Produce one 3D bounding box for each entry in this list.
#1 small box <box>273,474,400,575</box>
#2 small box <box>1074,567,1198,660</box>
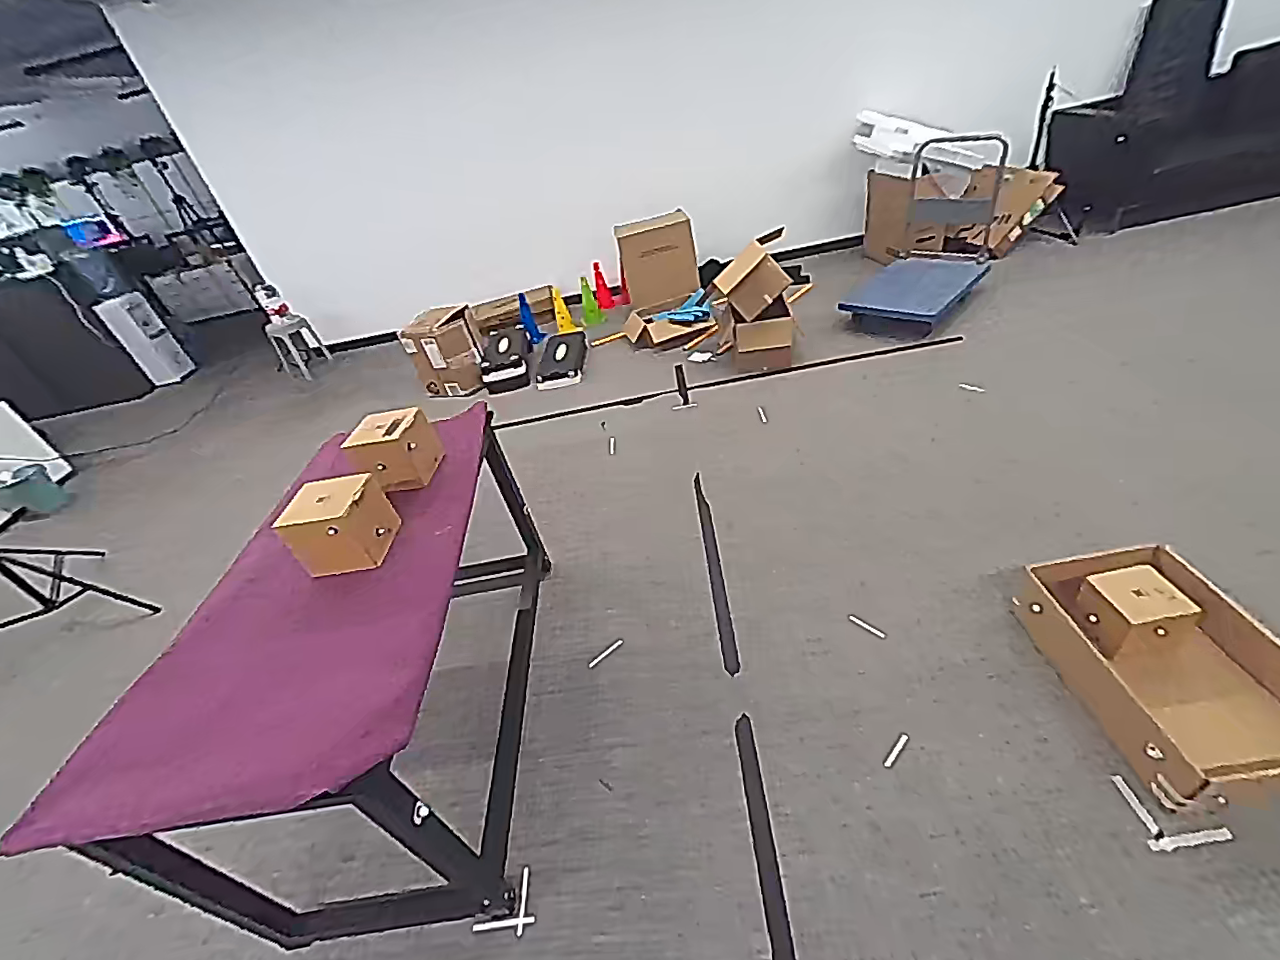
[{"bbox_3d":[-0.718,0.111,1.301,0.179,0.176,0.168,-9,37,5],"label":"small box"},{"bbox_3d":[1.332,0.368,1.474,0.179,0.176,0.168,-12,38,2],"label":"small box"}]
